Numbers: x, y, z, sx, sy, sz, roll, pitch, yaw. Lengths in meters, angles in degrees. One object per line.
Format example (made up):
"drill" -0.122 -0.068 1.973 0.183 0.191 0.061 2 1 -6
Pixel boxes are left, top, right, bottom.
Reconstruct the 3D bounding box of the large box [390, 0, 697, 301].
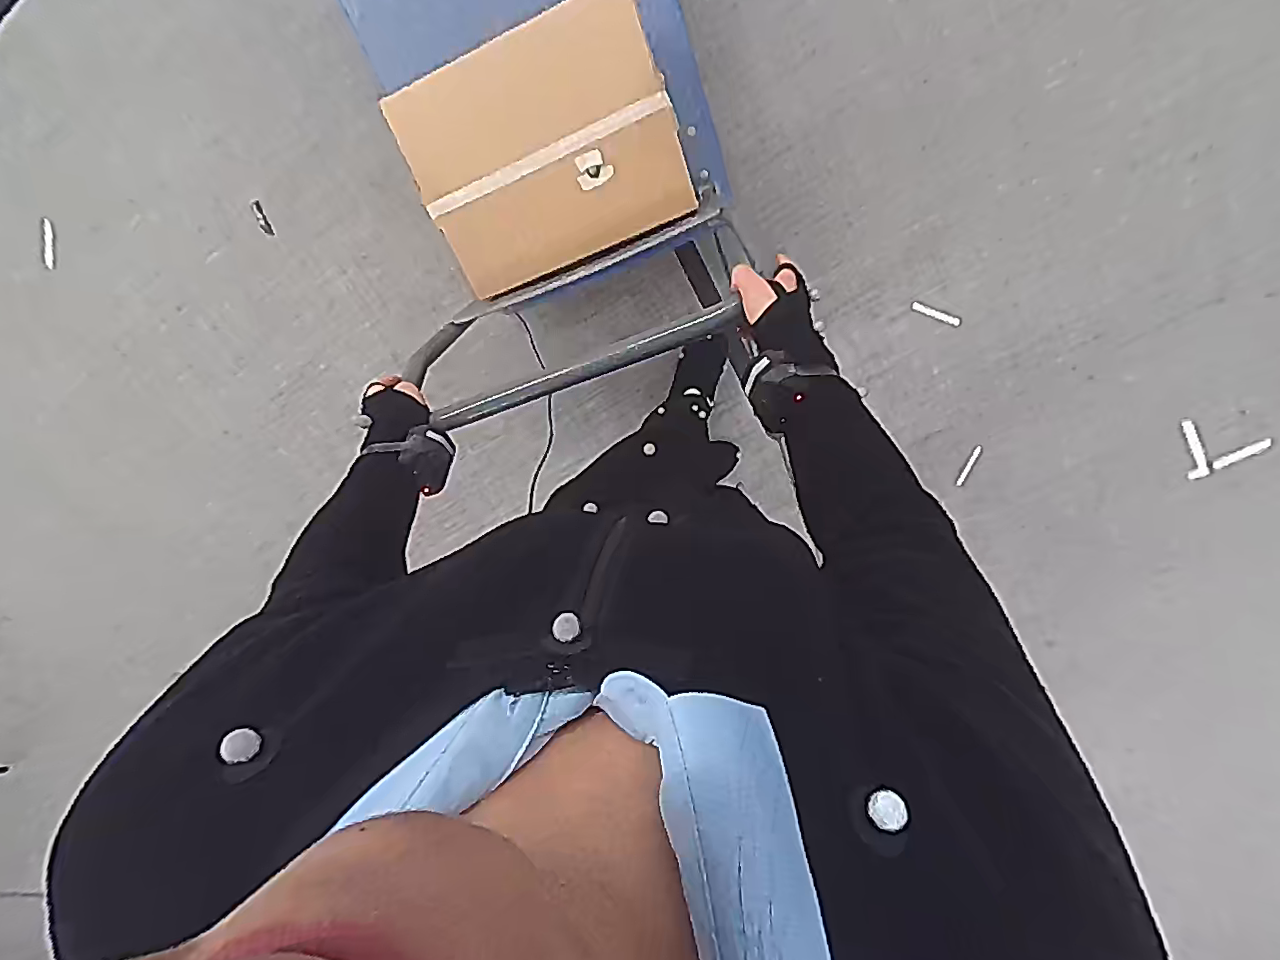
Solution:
"large box" -0.141 -0.567 0.976 0.408 0.320 0.320 -19 116 11
